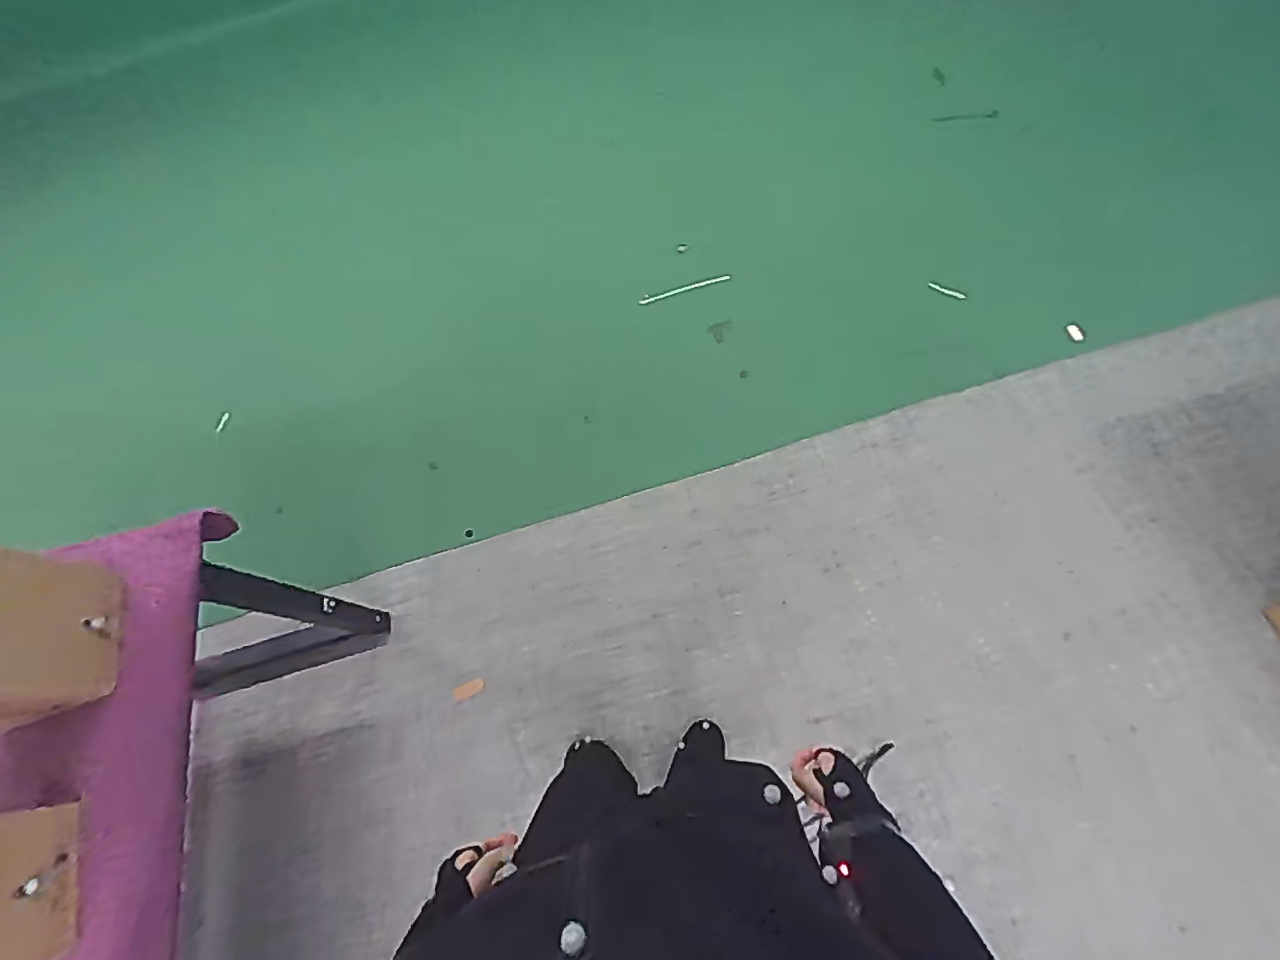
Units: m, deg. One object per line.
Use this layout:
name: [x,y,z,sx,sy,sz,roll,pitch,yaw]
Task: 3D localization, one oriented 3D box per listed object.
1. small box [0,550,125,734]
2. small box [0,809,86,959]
small box: [-0.821,0.215,0.695,0.168,0.176,0.179,-20,67,-1]
small box: [-0.765,0.482,0.577,0.179,0.176,0.168,-23,67,-2]
